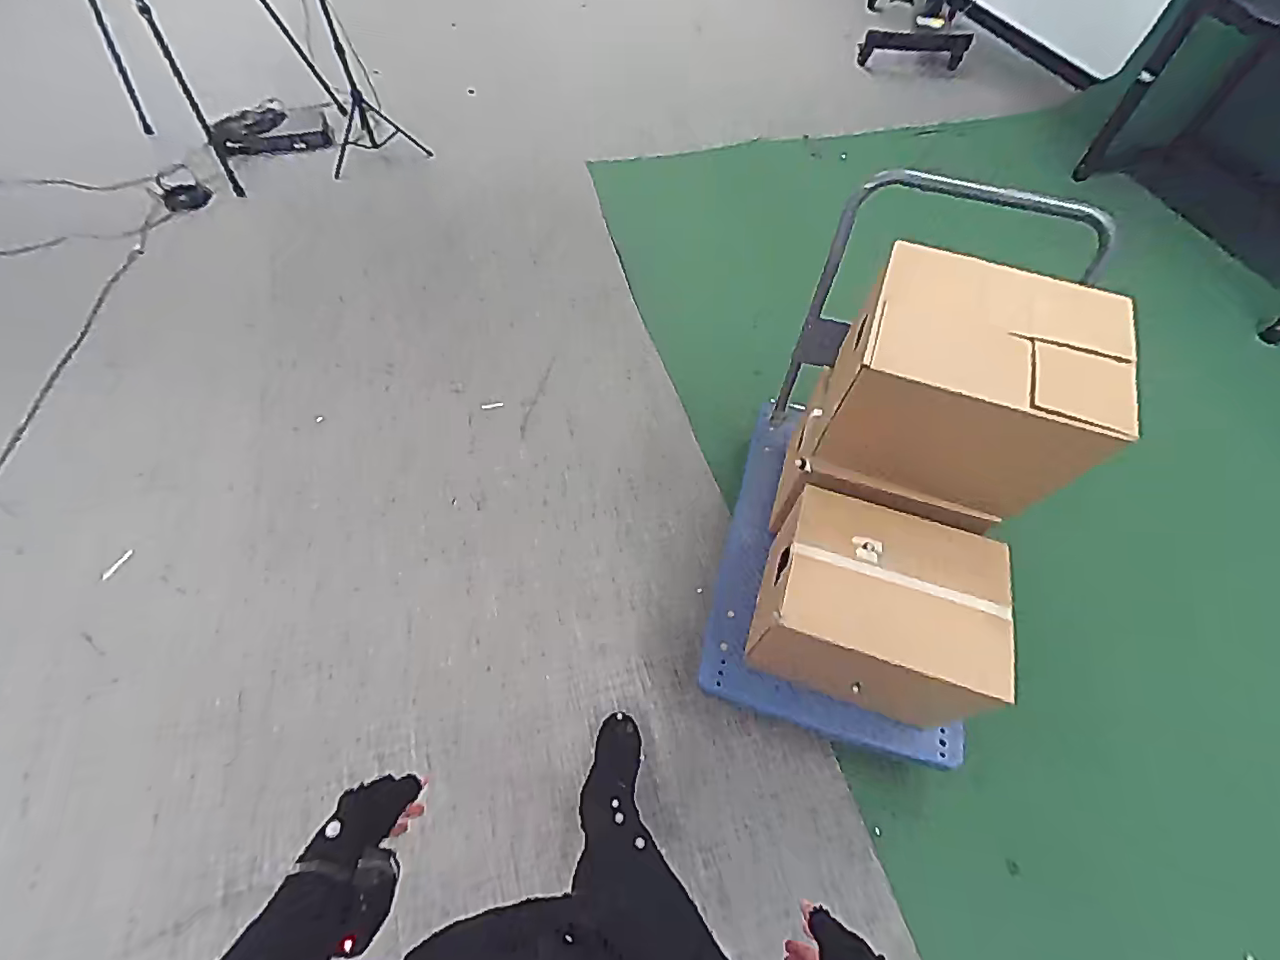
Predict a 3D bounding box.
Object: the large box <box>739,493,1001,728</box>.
[{"bbox_3d":[0.458,0.278,1.126,0.408,0.320,0.320,17,58,9],"label":"large box"}]
